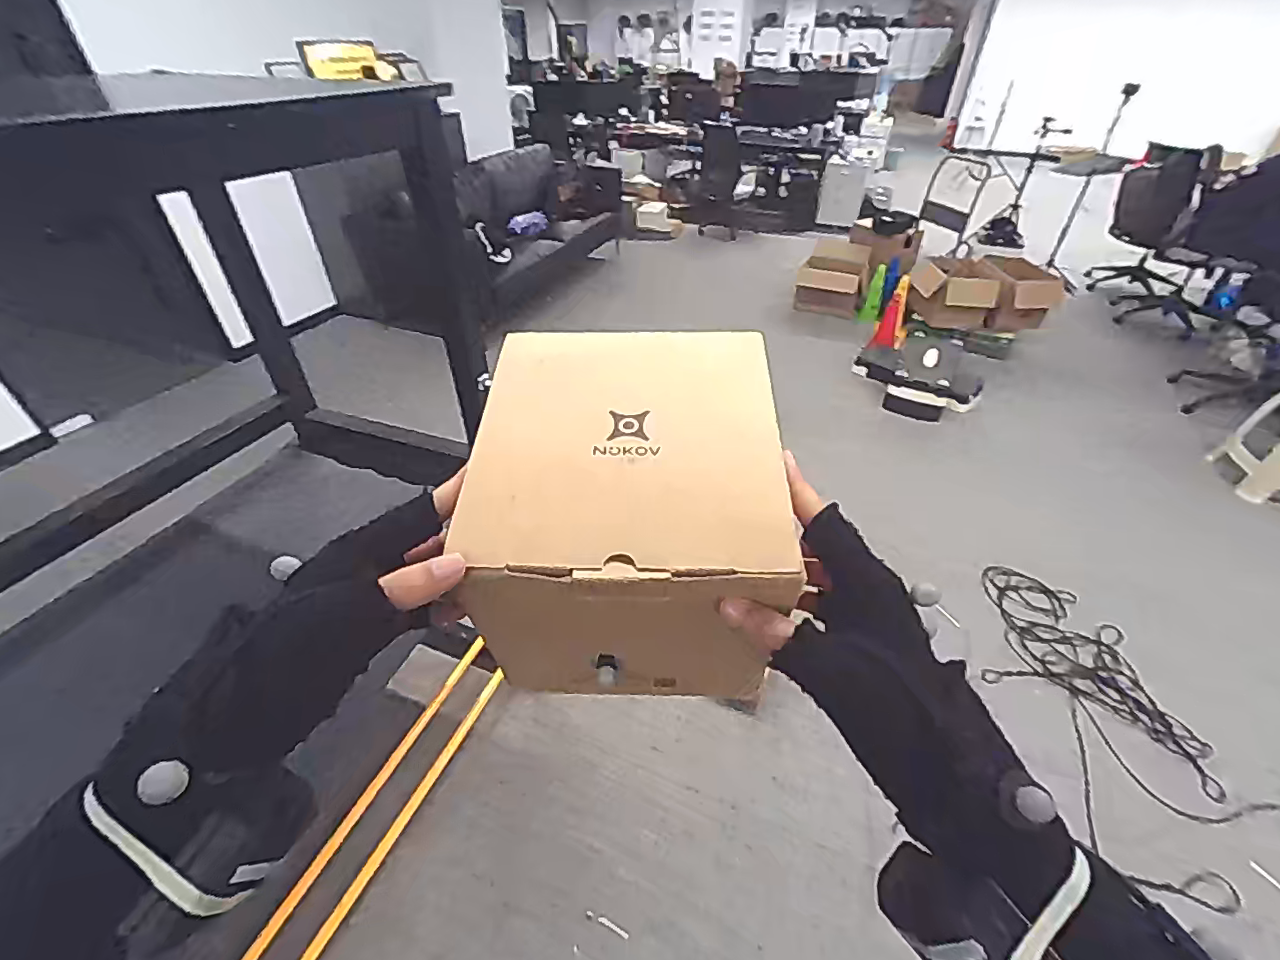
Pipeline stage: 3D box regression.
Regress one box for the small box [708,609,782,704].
[{"bbox_3d":[0.311,0.530,1.620,0.168,0.176,0.179,18,43,22],"label":"small box"}]
